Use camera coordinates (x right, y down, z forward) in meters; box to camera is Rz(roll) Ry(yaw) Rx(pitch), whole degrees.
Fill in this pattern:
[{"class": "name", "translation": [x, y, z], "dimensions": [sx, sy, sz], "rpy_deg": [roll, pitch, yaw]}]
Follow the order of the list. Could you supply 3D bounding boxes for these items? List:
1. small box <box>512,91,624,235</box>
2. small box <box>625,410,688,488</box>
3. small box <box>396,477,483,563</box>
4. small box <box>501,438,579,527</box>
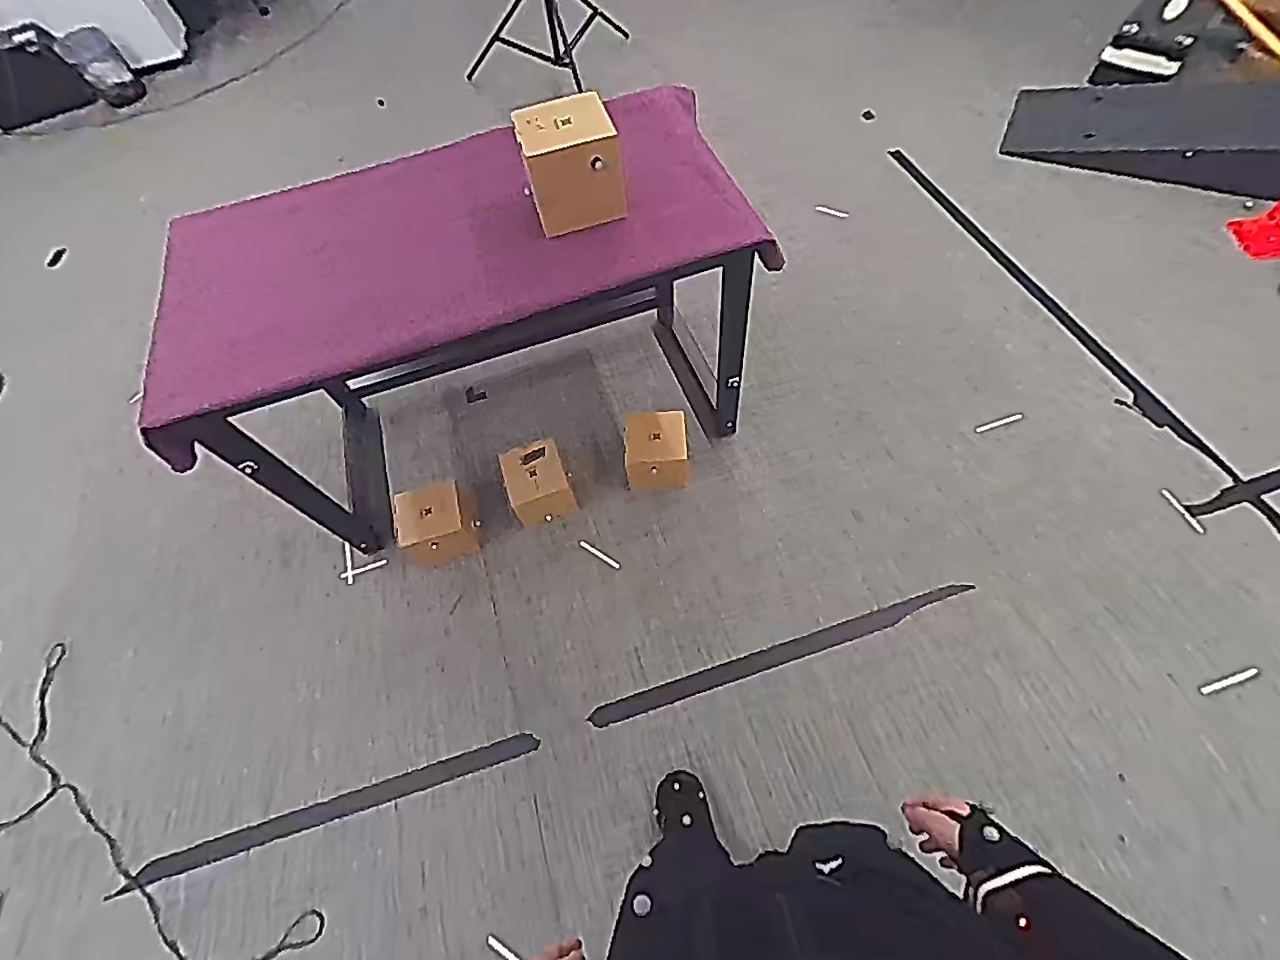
[{"class": "small box", "translation": [-0.135, -0.623, 1.073], "dimensions": [0.179, 0.176, 0.168], "rpy_deg": [-17, 61, -3]}, {"class": "small box", "translation": [0.052, -0.088, 1.601], "dimensions": [0.179, 0.176, 0.168], "rpy_deg": [-4, 62, 5]}, {"class": "small box", "translation": [-0.573, 0.121, 1.552], "dimensions": [0.179, 0.176, 0.168], "rpy_deg": [-17, 63, -4]}, {"class": "small box", "translation": [-0.290, 0.011, 1.581], "dimensions": [0.168, 0.176, 0.179], "rpy_deg": [-19, 63, -4]}]
